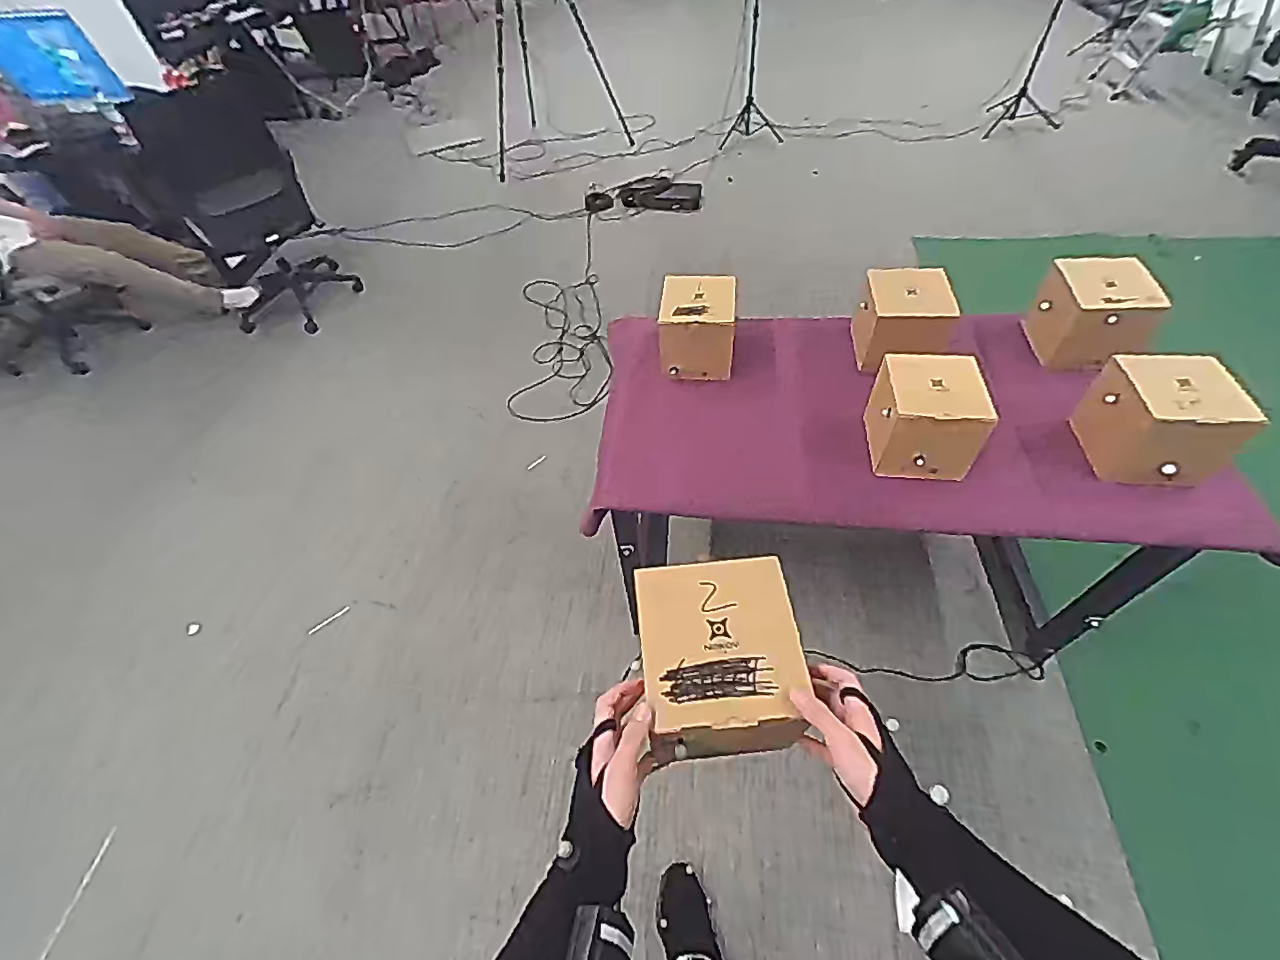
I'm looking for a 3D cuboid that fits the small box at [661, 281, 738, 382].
[{"bbox_3d":[0.143,-0.347,1.275,0.168,0.176,0.179,3,53,7],"label":"small box"}]

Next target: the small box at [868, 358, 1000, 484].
[{"bbox_3d":[0.557,-0.115,1.054,0.168,0.176,0.179,4,52,8],"label":"small box"}]

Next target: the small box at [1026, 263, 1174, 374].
[{"bbox_3d":[0.996,-0.355,1.195,0.168,0.176,0.179,1,53,9],"label":"small box"}]

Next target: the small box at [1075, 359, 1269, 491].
[{"bbox_3d":[0.957,-0.103,0.999,0.168,0.176,0.179,3,51,10],"label":"small box"}]

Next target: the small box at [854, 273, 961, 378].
[{"bbox_3d":[0.599,-0.350,1.236,0.168,0.176,0.179,3,54,8],"label":"small box"}]
